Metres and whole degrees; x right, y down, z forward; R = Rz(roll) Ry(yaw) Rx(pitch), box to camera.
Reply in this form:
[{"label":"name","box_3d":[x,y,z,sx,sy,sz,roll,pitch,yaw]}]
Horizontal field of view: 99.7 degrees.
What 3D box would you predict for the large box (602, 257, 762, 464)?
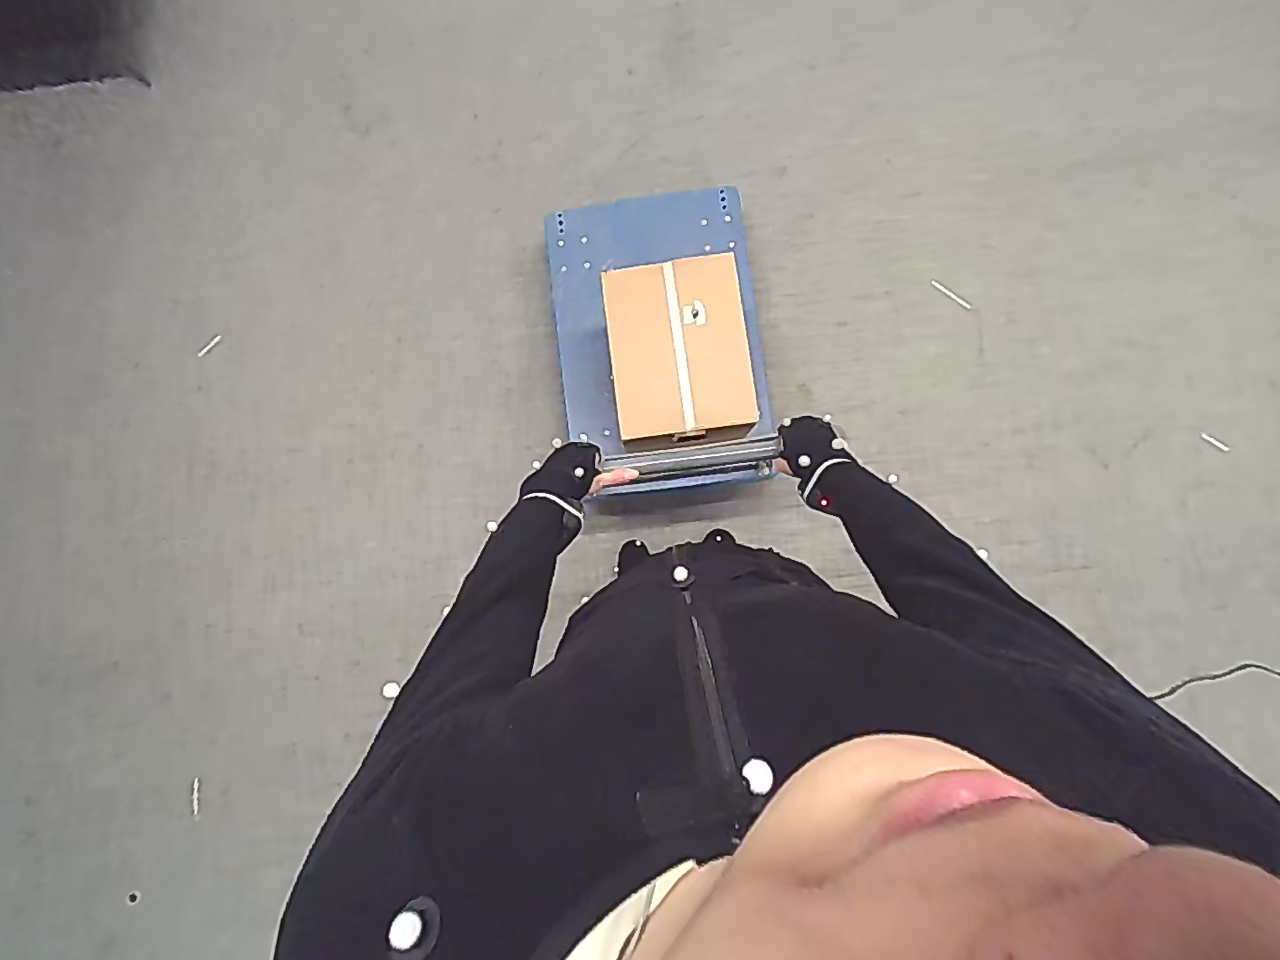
[{"label":"large box","box_3d":[0.099,-0.276,1.358,0.320,0.320,0.408,-8,82,1]}]
